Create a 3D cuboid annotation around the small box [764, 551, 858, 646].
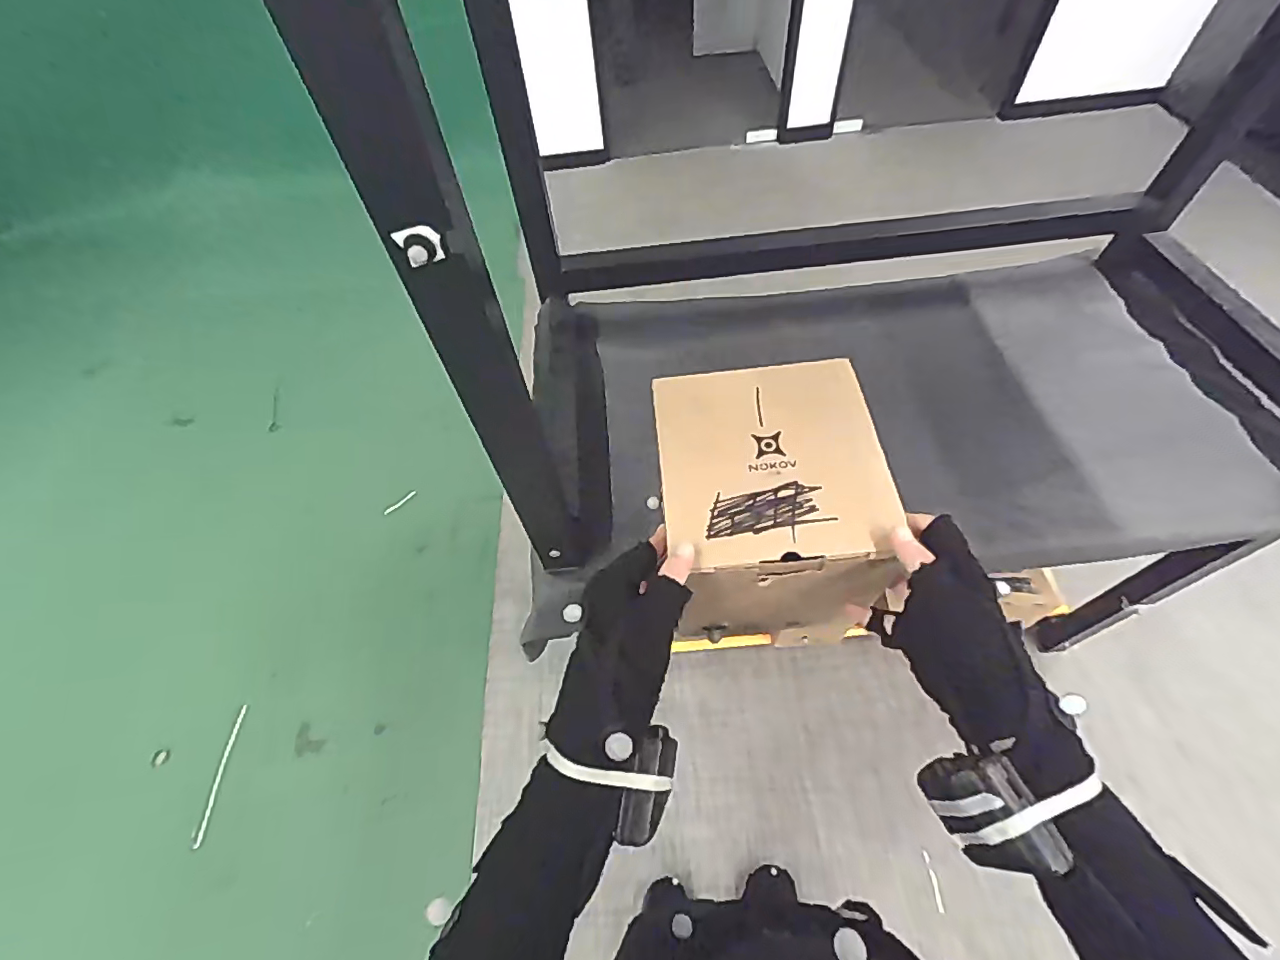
[{"bbox_3d":[0.402,0.288,1.307,0.168,0.176,0.179,-4,58,2],"label":"small box"}]
